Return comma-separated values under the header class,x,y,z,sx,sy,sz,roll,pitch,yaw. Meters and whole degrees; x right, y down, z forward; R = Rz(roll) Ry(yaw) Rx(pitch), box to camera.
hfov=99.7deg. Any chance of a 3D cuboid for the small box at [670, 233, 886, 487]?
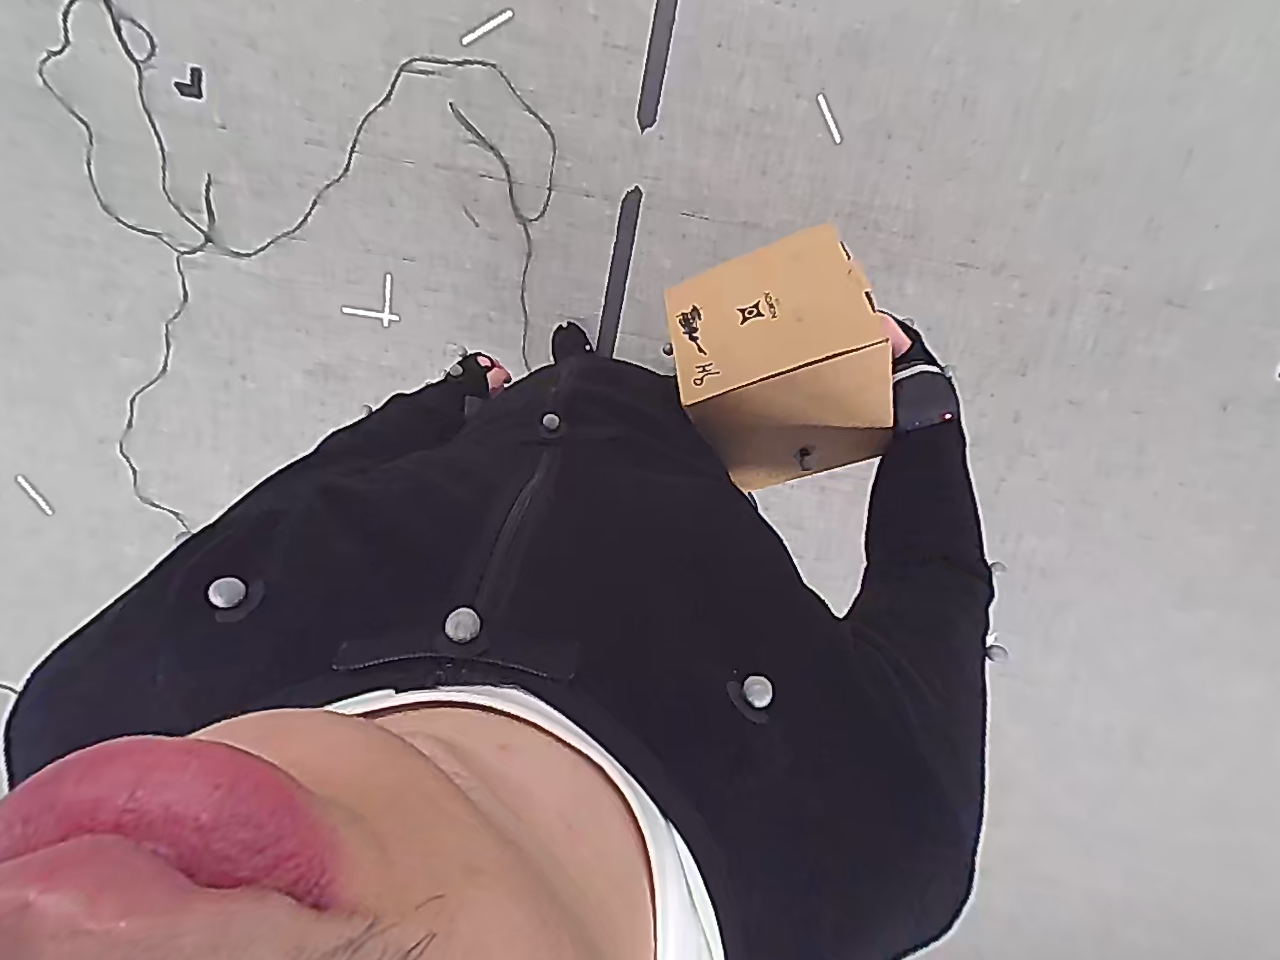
class,x,y,z,sx,sy,sz,roll,pitch,yaw
small box,0.146,-0.116,0.575,0.179,0.168,0.176,-16,144,16
